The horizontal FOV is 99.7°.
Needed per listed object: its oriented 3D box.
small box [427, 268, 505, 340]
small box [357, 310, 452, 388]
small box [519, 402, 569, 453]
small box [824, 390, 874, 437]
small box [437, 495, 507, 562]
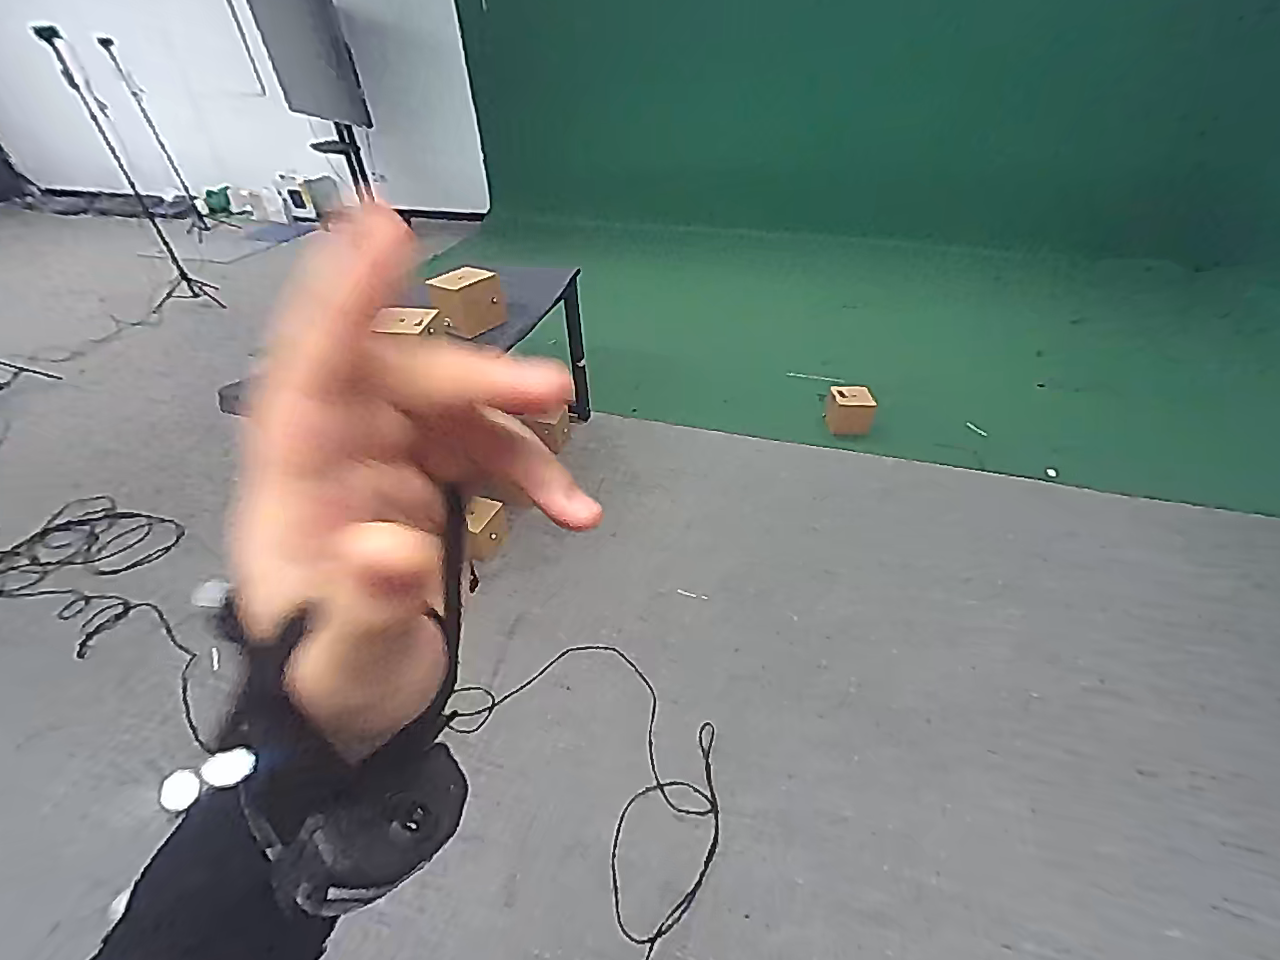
[{"bbox_3d":[-0.577,-0.593,1.819,0.168,0.176,0.179,23,47,30],"label":"small box"},{"bbox_3d":[-0.671,-0.377,1.563,0.179,0.176,0.168,2,40,4],"label":"small box"},{"bbox_3d":[-0.442,-0.242,2.526,0.179,0.176,0.168,7,40,10],"label":"small box"},{"bbox_3d":[0.987,-0.316,2.576,0.179,0.176,0.168,1,40,1],"label":"small box"},{"bbox_3d":[-0.620,0.186,2.028,0.179,0.176,0.168,13,42,17],"label":"small box"}]
